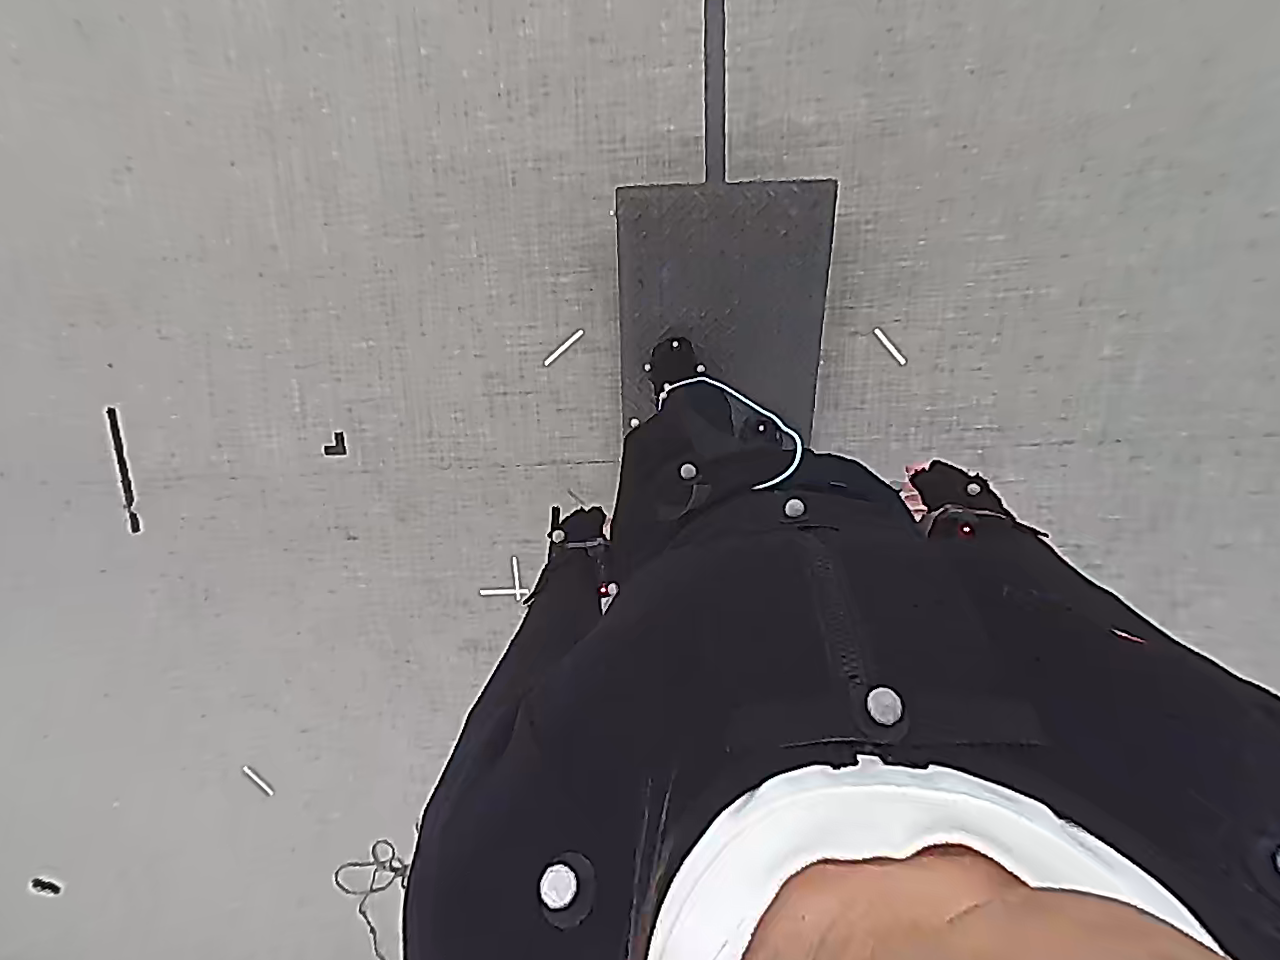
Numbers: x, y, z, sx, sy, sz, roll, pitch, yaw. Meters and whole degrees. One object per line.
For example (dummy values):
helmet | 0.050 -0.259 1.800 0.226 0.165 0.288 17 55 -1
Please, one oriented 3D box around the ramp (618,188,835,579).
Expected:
ramp | 0.217 -0.178 1.394 0.509 0.206 0.991 -2 101 6
